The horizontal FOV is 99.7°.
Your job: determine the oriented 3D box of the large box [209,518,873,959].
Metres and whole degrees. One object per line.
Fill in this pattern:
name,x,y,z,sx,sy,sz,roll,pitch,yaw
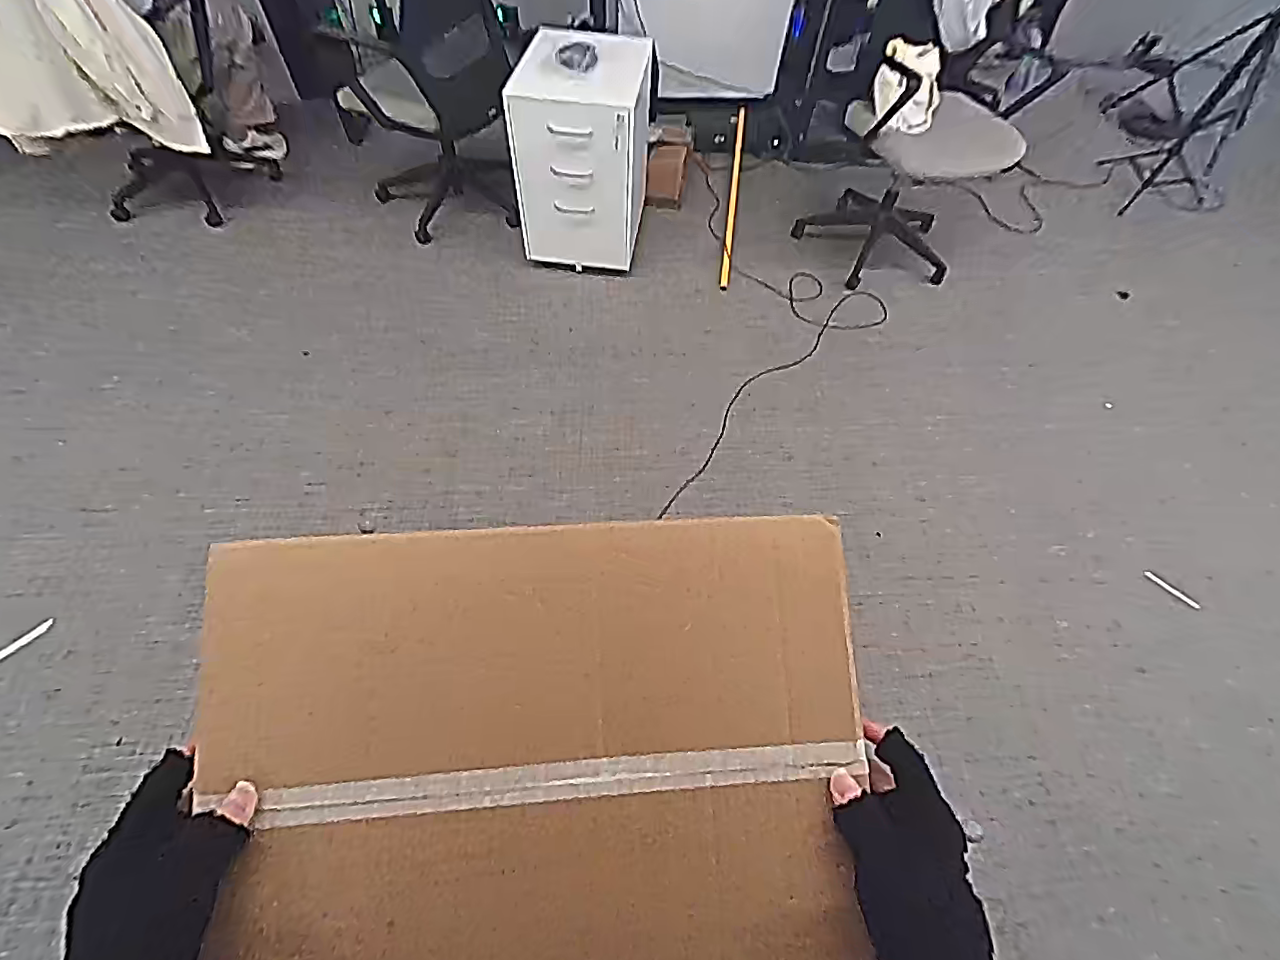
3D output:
large box,-0.070,0.211,0.490,0.408,0.320,0.320,-2,82,-4
